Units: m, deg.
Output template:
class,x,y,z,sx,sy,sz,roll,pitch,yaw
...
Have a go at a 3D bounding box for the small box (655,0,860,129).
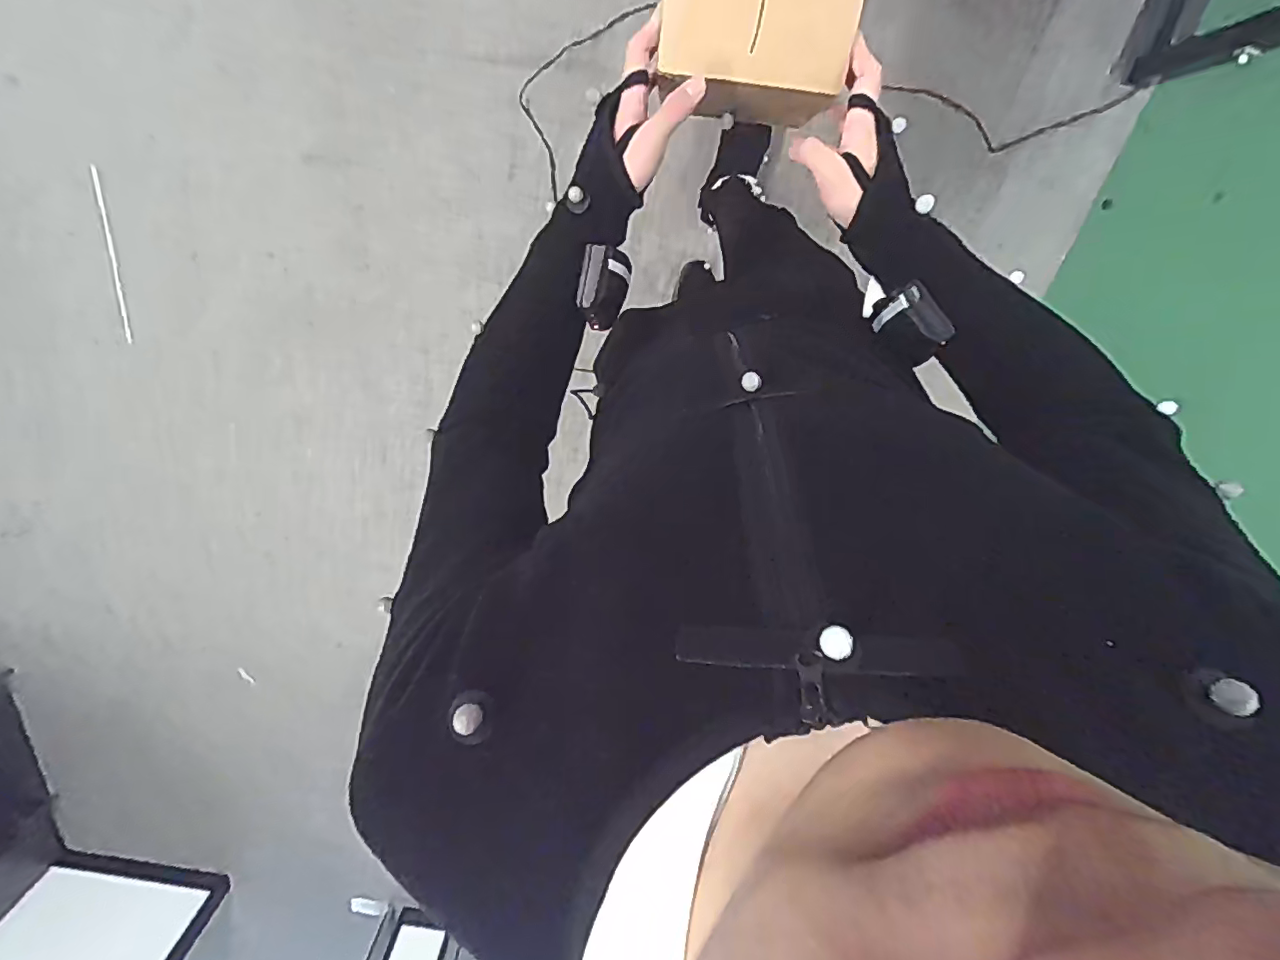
class,x,y,z,sx,sy,sz,roll,pitch,yaw
small box,0.107,-0.456,0.509,0.168,0.176,0.179,8,114,0
